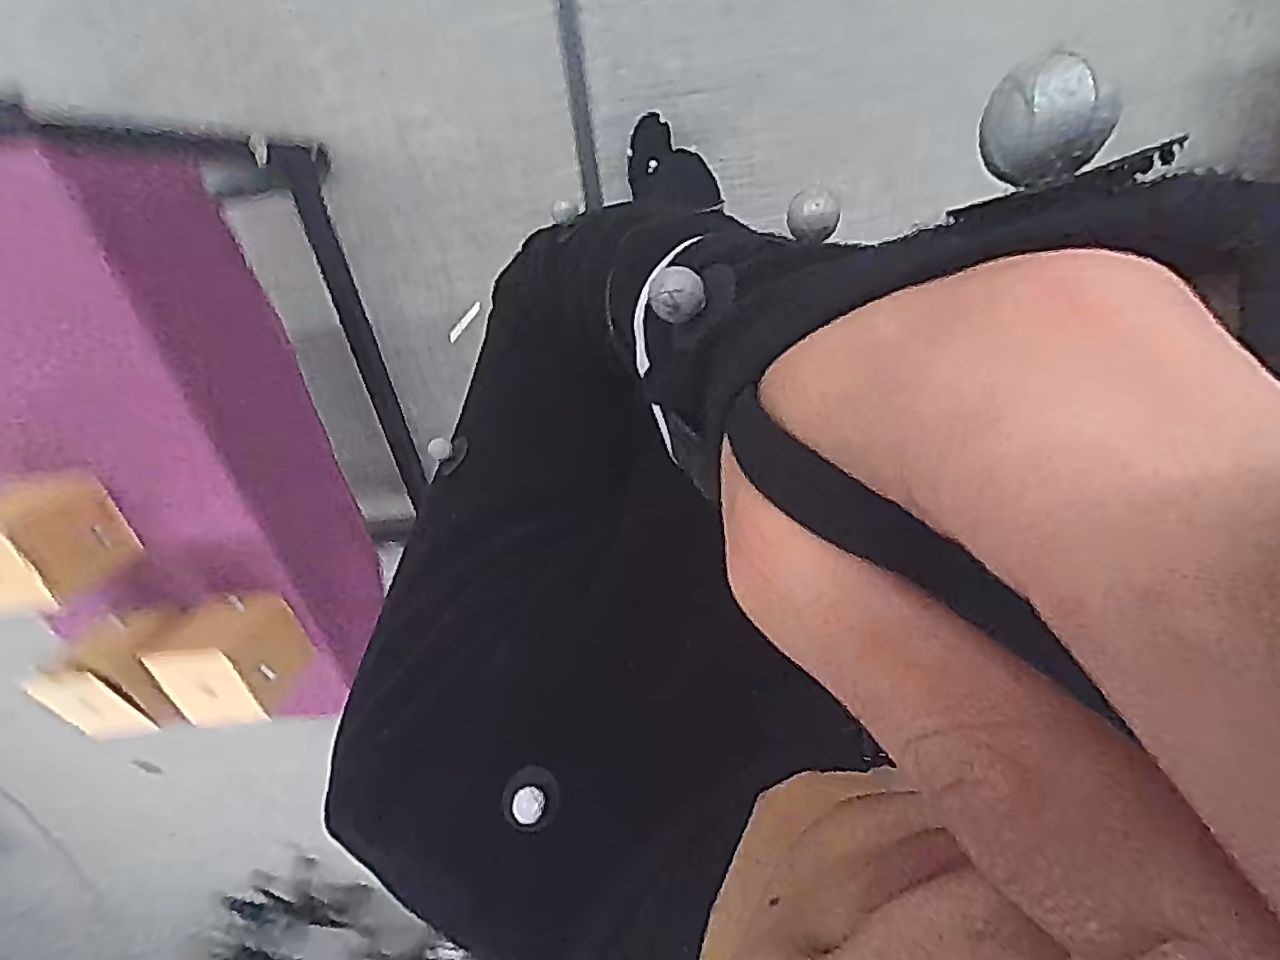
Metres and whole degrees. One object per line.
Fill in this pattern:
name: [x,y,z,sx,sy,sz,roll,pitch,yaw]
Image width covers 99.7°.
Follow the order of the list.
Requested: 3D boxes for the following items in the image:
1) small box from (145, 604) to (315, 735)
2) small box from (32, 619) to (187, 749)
small box: [-0.785,0.369,1.061,0.168,0.176,0.179,-7,118,6]
small box: [-1.022,0.409,1.094,0.168,0.176,0.179,-9,117,7]
